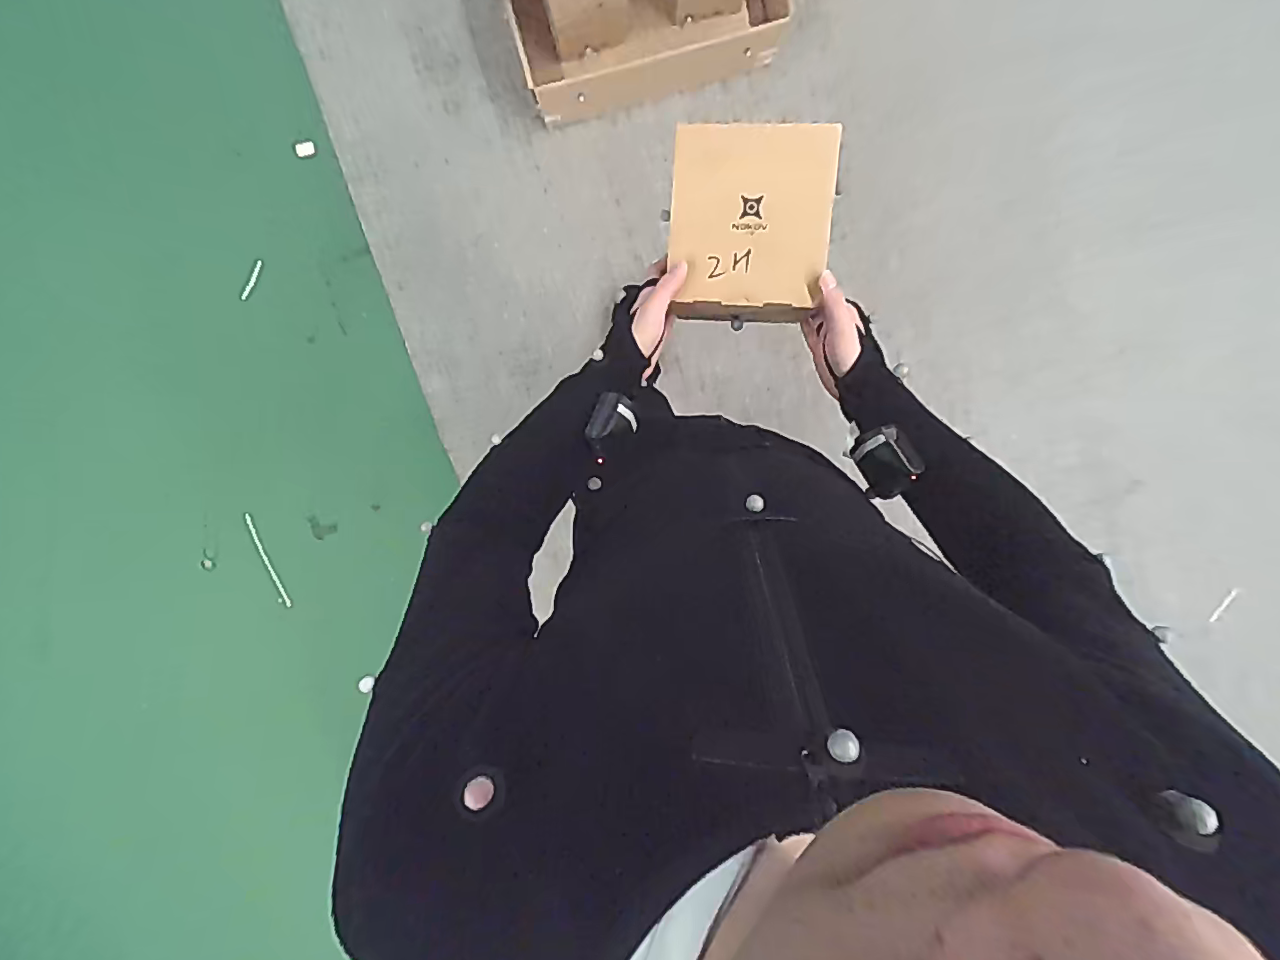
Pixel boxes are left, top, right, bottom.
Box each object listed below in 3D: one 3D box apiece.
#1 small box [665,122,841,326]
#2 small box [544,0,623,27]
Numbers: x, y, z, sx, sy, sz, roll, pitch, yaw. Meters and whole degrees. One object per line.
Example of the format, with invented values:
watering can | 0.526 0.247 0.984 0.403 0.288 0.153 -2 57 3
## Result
small box | 0.123 -0.284 0.633 0.168 0.176 0.179 5 100 7
small box | -0.135 -1.062 1.070 0.168 0.176 0.179 -17 102 3
